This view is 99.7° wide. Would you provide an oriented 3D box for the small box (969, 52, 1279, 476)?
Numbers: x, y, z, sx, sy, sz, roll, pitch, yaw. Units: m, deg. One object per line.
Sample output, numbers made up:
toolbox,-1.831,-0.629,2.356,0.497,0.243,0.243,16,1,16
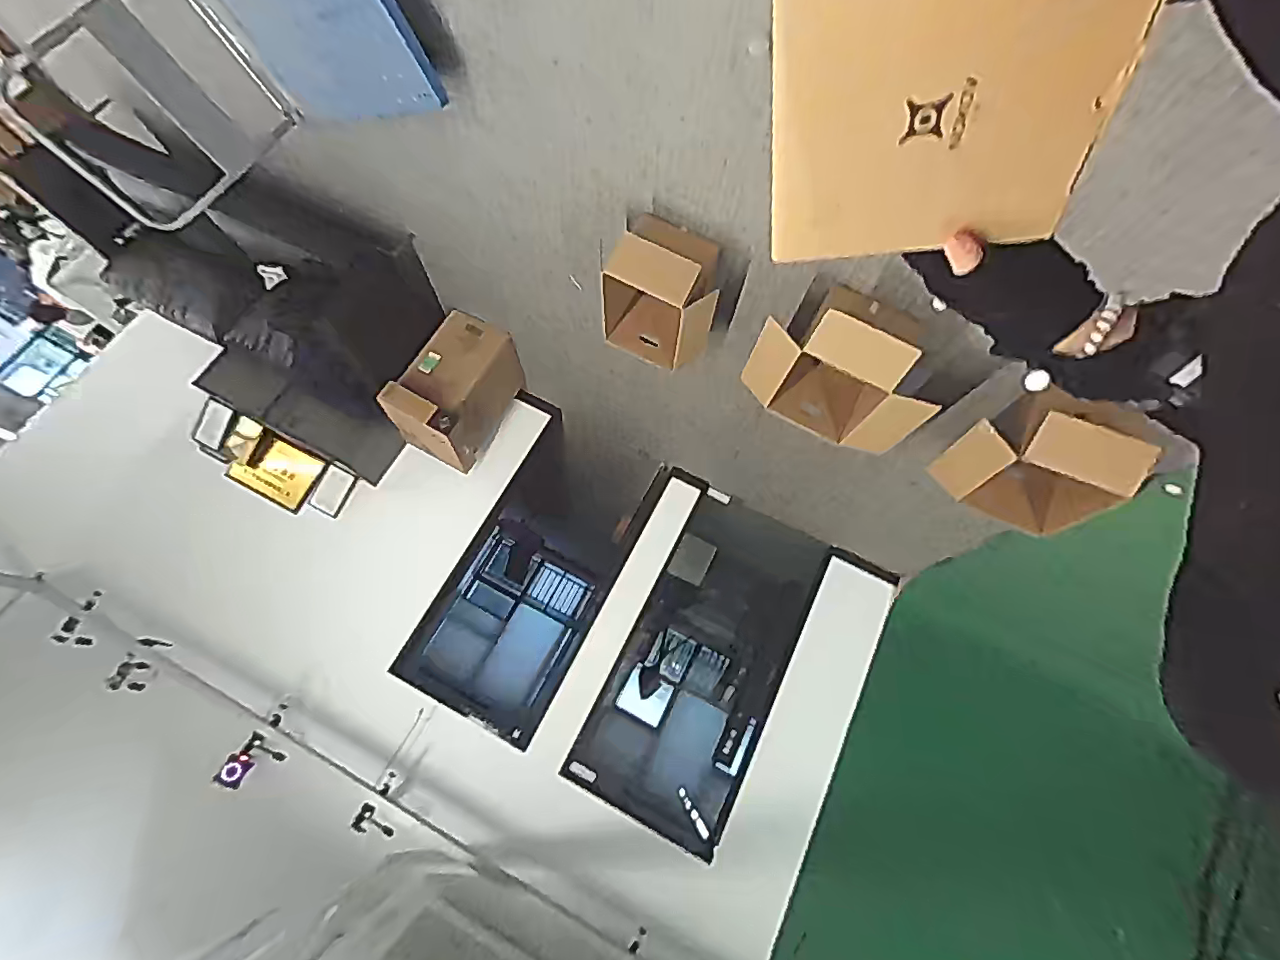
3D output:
small box,0.358,-0.114,0.366,0.168,0.179,0.176,-34,159,31
